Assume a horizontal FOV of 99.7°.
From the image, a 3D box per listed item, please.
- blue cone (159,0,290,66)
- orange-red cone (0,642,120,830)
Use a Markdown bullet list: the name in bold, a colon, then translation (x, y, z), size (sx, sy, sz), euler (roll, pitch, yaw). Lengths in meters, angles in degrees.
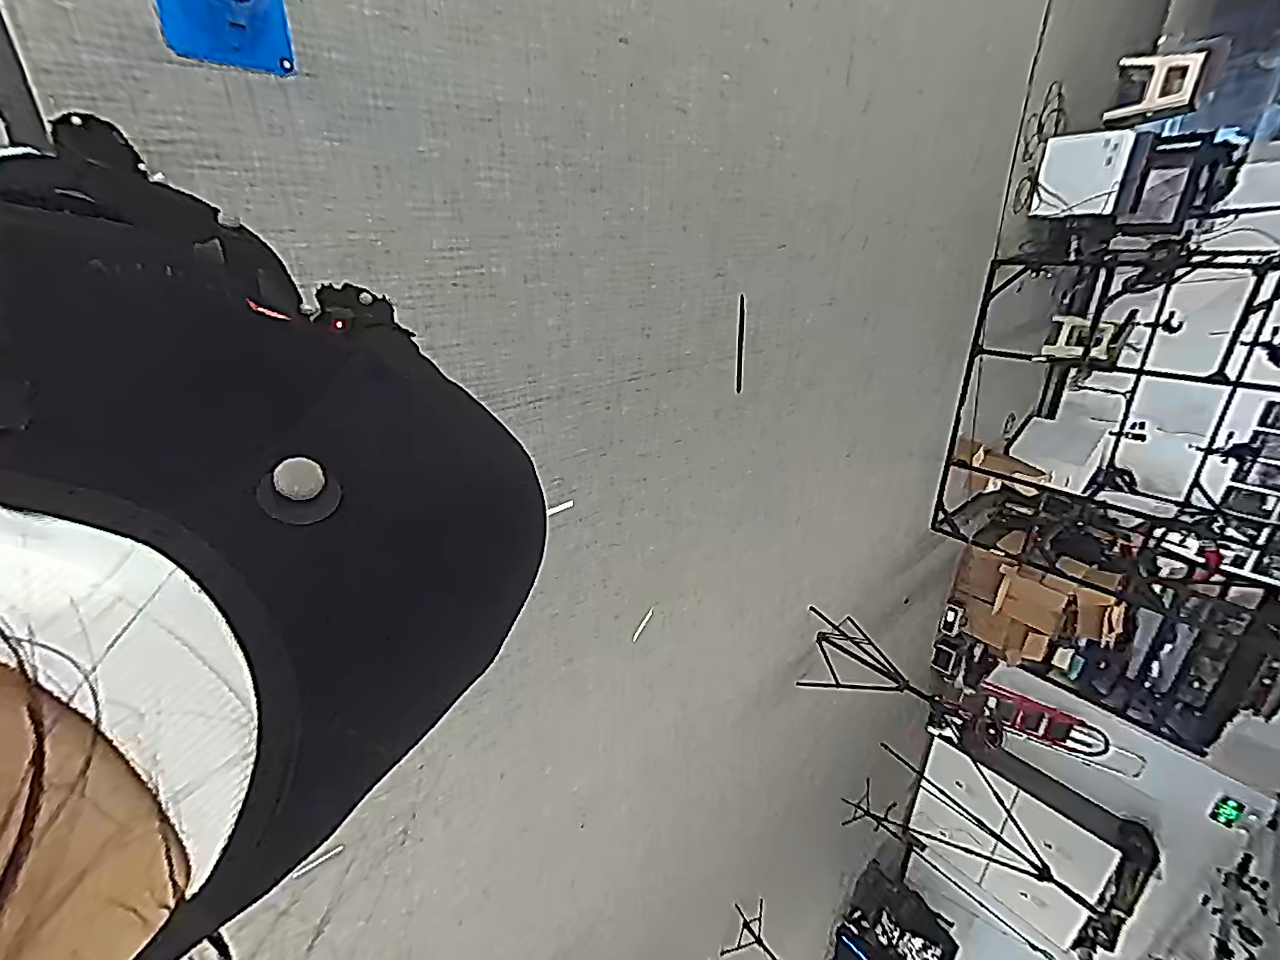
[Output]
- **blue cone**: translation (-0.648, -0.824, 0.859), size (0.192, 0.380, 0.193), euler (-16, 118, -39)
- **orange-red cone**: translation (-1.109, 0.492, 0.987), size (0.199, 0.360, 0.198), euler (-14, 115, -37)
